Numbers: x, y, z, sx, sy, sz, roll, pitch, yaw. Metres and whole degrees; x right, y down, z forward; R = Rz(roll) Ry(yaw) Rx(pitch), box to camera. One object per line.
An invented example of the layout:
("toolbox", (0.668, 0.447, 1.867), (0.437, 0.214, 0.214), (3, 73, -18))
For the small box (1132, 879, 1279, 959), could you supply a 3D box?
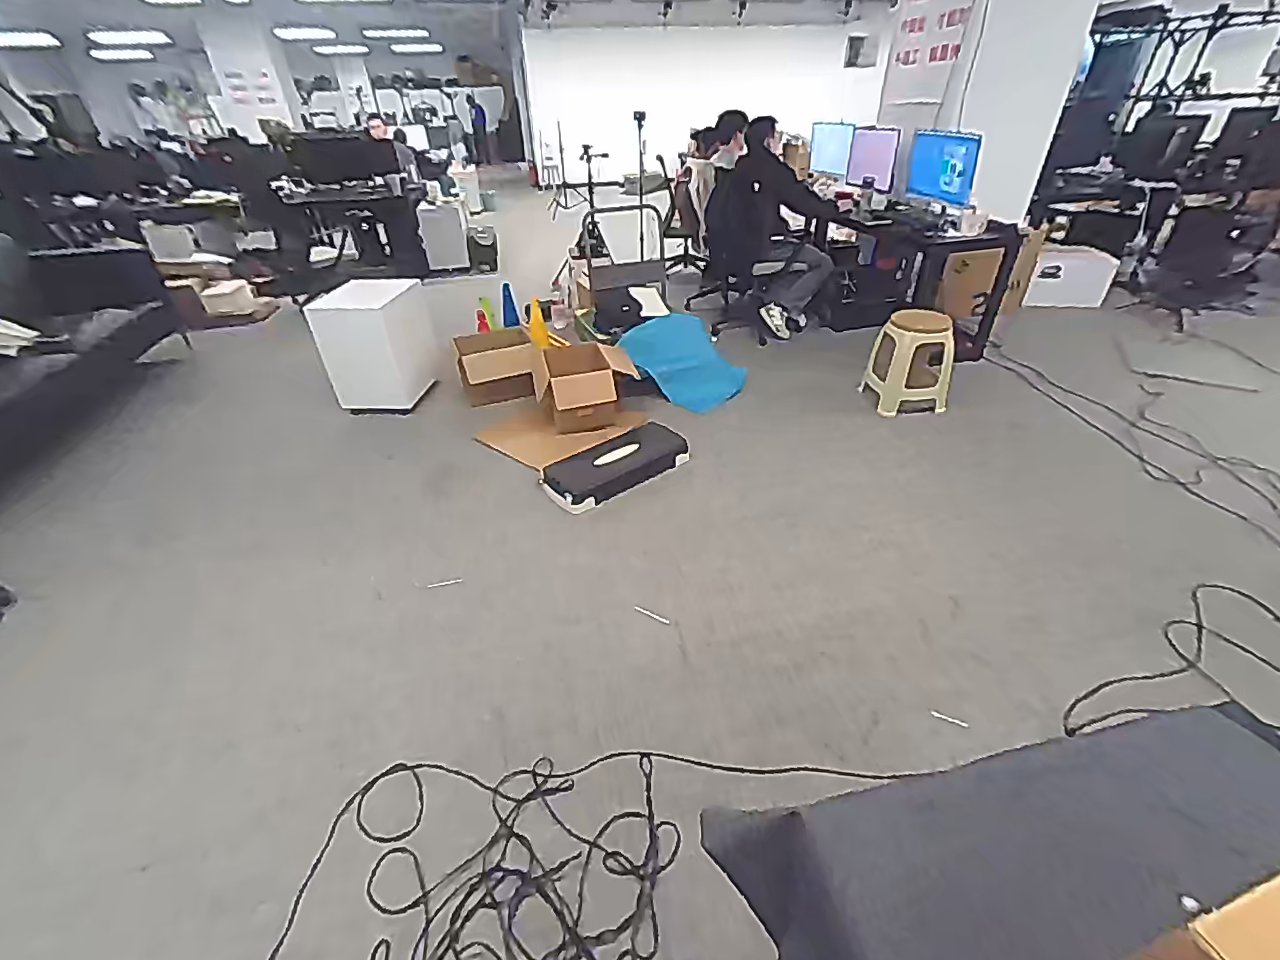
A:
("small box", (0.502, 0.409, 0.387), (0.179, 0.176, 0.168), (-12, 36, -14))
